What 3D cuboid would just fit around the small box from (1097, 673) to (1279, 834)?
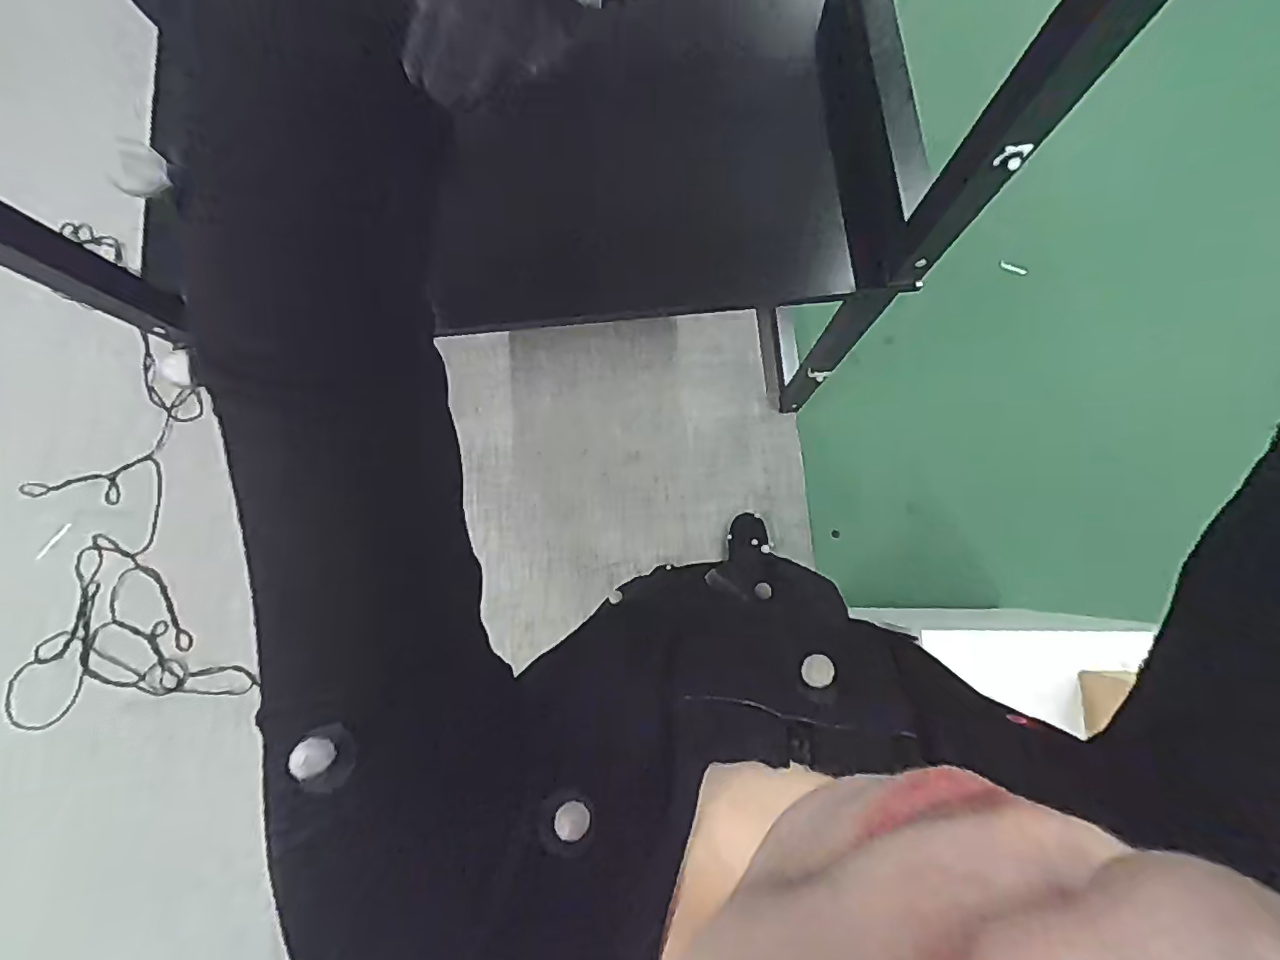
[{"bbox_3d":[0.787,0.374,0.758,0.179,0.176,0.168,0,81,3],"label":"small box"}]
